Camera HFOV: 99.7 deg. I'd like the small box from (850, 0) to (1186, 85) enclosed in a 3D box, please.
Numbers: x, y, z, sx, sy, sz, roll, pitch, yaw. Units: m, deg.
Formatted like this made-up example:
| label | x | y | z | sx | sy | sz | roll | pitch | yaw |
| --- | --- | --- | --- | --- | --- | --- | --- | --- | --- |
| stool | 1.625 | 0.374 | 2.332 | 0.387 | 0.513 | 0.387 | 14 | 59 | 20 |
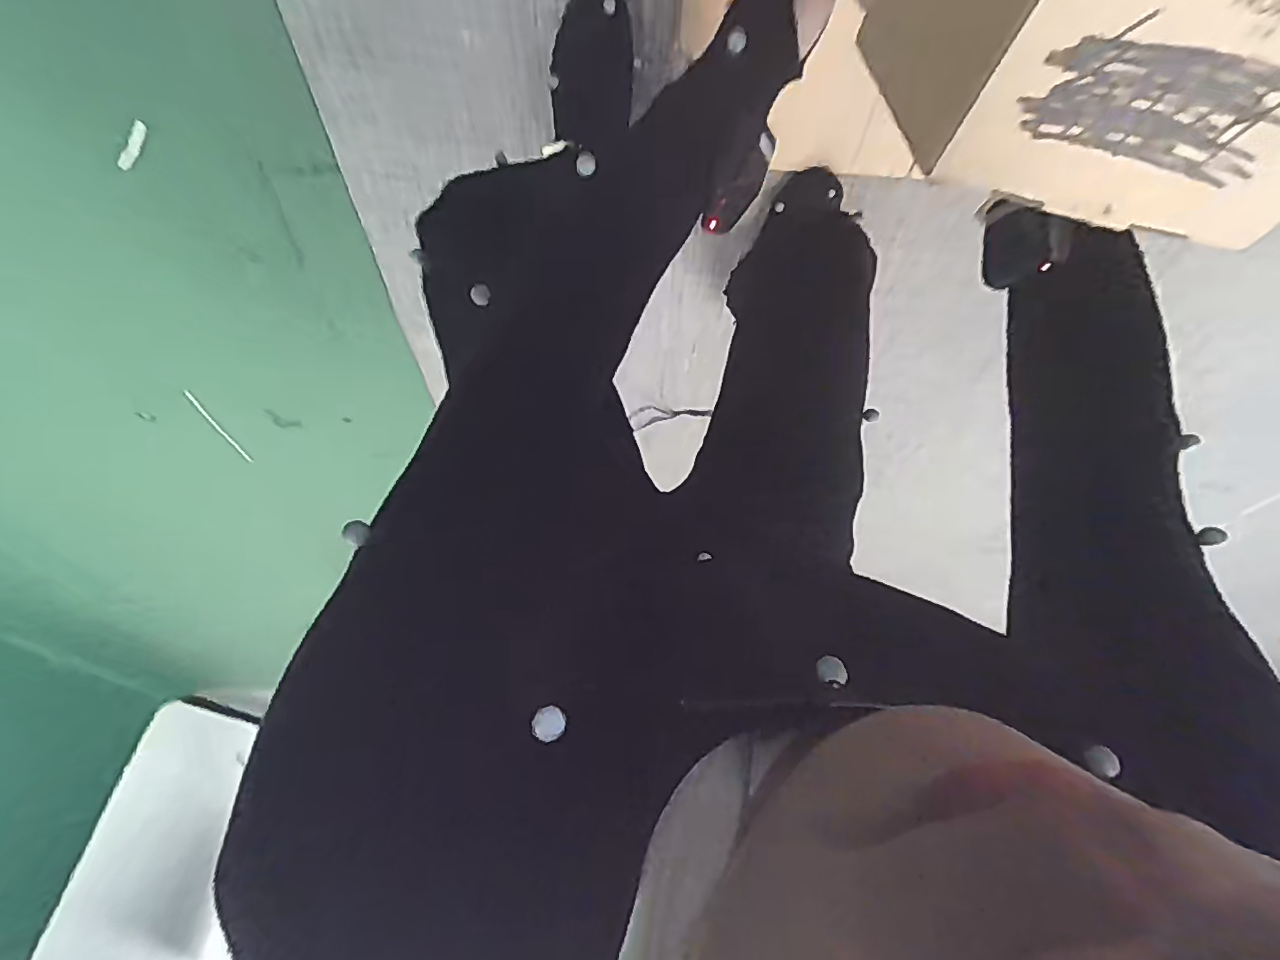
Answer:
| label | x | y | z | sx | sy | sz | roll | pitch | yaw |
| --- | --- | --- | --- | --- | --- | --- | --- | --- | --- |
| small box | 0.230 | -0.366 | 0.305 | 0.179 | 0.176 | 0.168 | 7 | 146 | -7 |
